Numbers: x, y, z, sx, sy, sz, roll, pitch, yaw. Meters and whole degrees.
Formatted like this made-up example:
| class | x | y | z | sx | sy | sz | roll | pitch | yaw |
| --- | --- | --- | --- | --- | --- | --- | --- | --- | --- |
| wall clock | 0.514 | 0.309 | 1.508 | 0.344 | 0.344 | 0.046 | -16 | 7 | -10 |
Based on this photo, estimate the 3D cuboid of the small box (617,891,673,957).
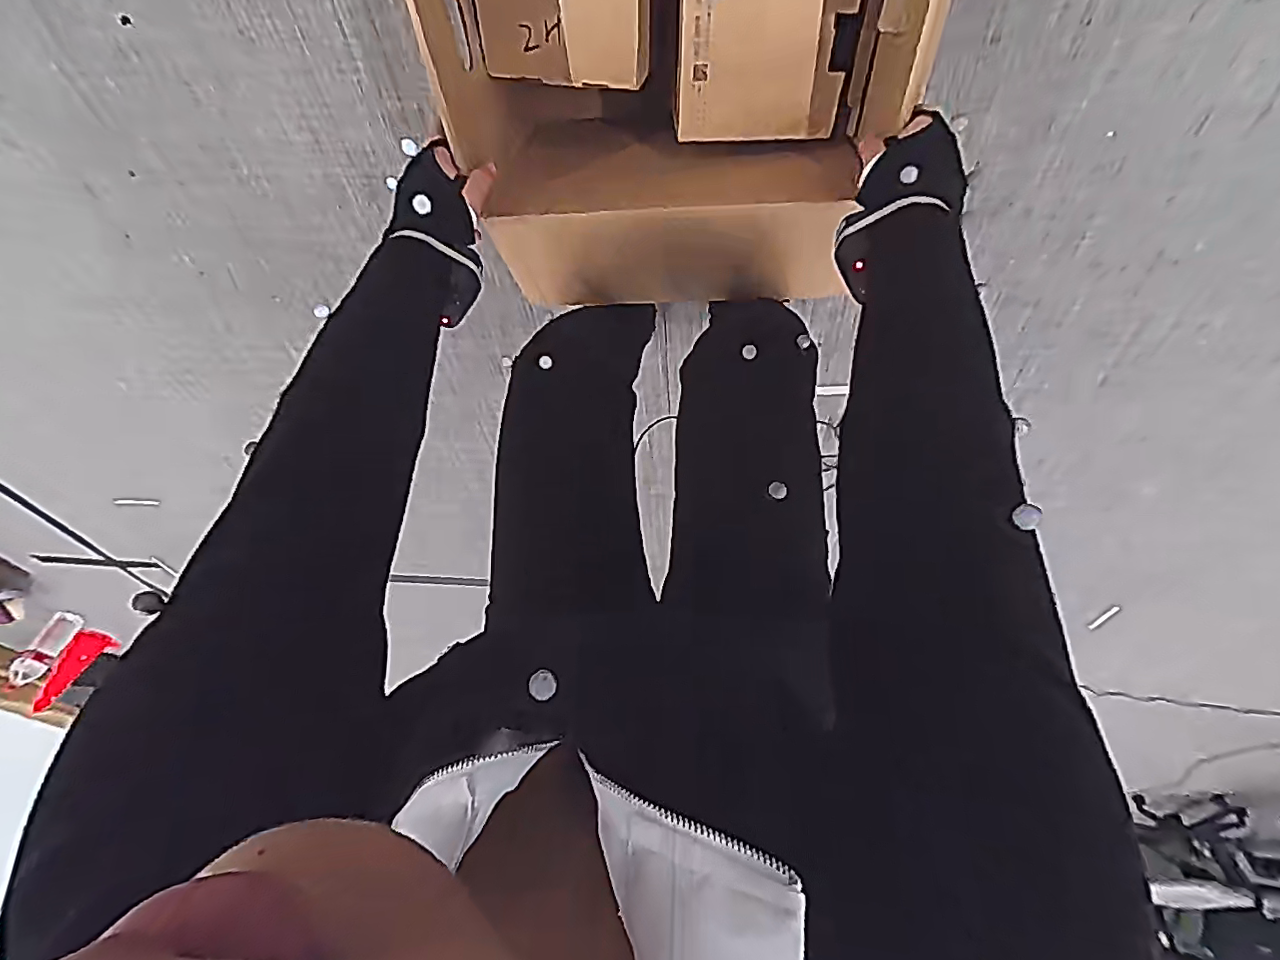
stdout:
| class | x | y | z | sx | sy | sz | roll | pitch | yaw |
| --- | --- | --- | --- | --- | --- | --- | --- | --- | --- |
| small box | 0.023 | 1.582 | 1.931 | 0.179 | 0.176 | 0.168 | 0 | 140 | 8 |
